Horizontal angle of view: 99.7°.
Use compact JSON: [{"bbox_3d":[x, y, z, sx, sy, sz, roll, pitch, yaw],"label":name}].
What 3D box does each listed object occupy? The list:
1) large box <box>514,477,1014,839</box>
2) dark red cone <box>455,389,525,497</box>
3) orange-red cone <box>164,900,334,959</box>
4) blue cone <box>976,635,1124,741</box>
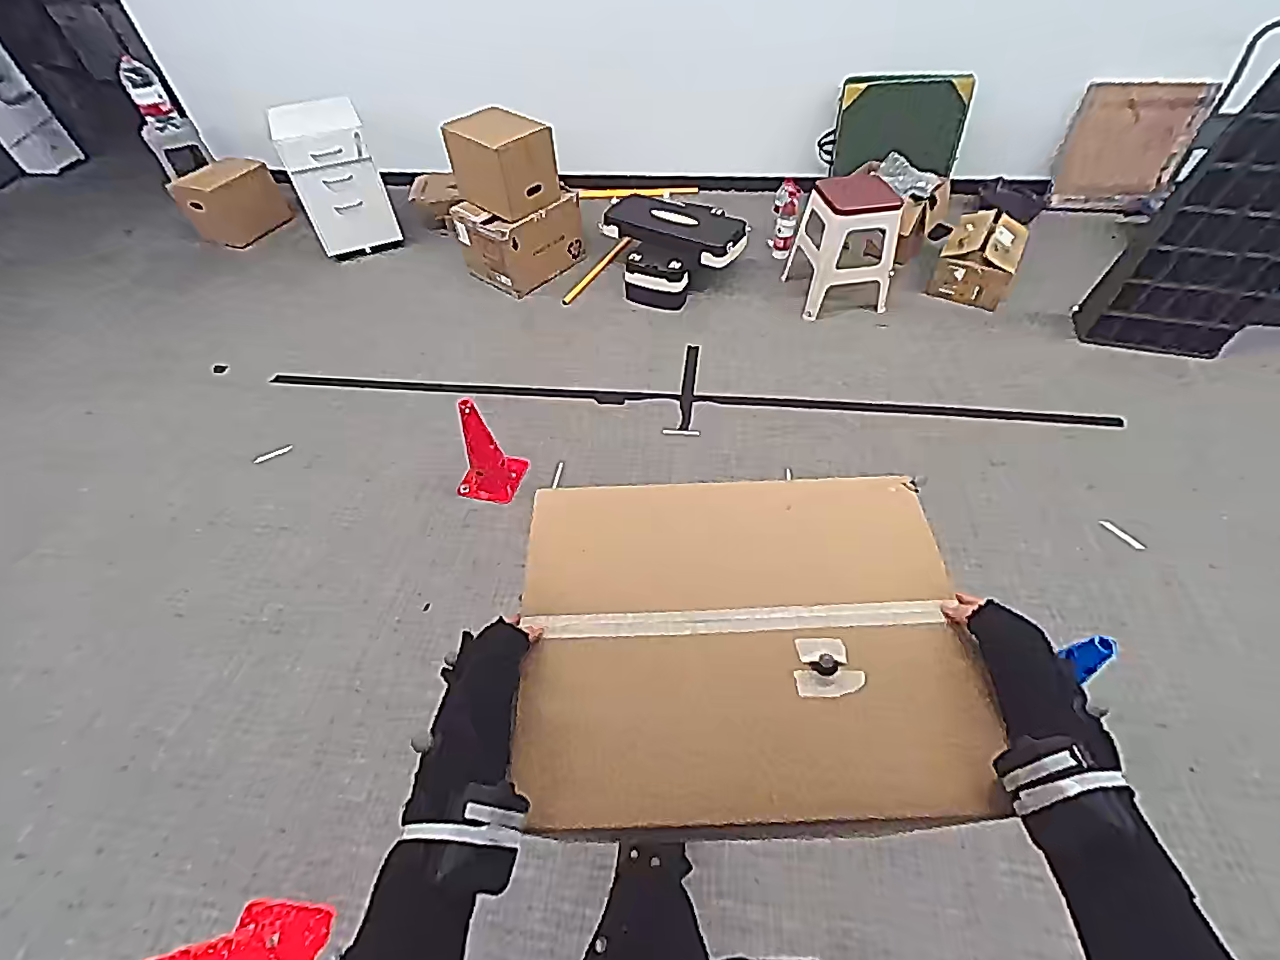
[{"bbox_3d":[0.094,0.216,0.628,0.408,0.320,0.320,-2,55,0],"label":"large box"},{"bbox_3d":[-0.520,-0.132,1.749,0.201,0.394,0.202,9,52,9],"label":"dark red cone"},{"bbox_3d":[-0.750,0.874,0.957,0.198,0.360,0.199,2,52,5],"label":"orange-red cone"},{"bbox_3d":[0.964,0.451,1.250,0.192,0.380,0.193,7,51,7],"label":"blue cone"}]
